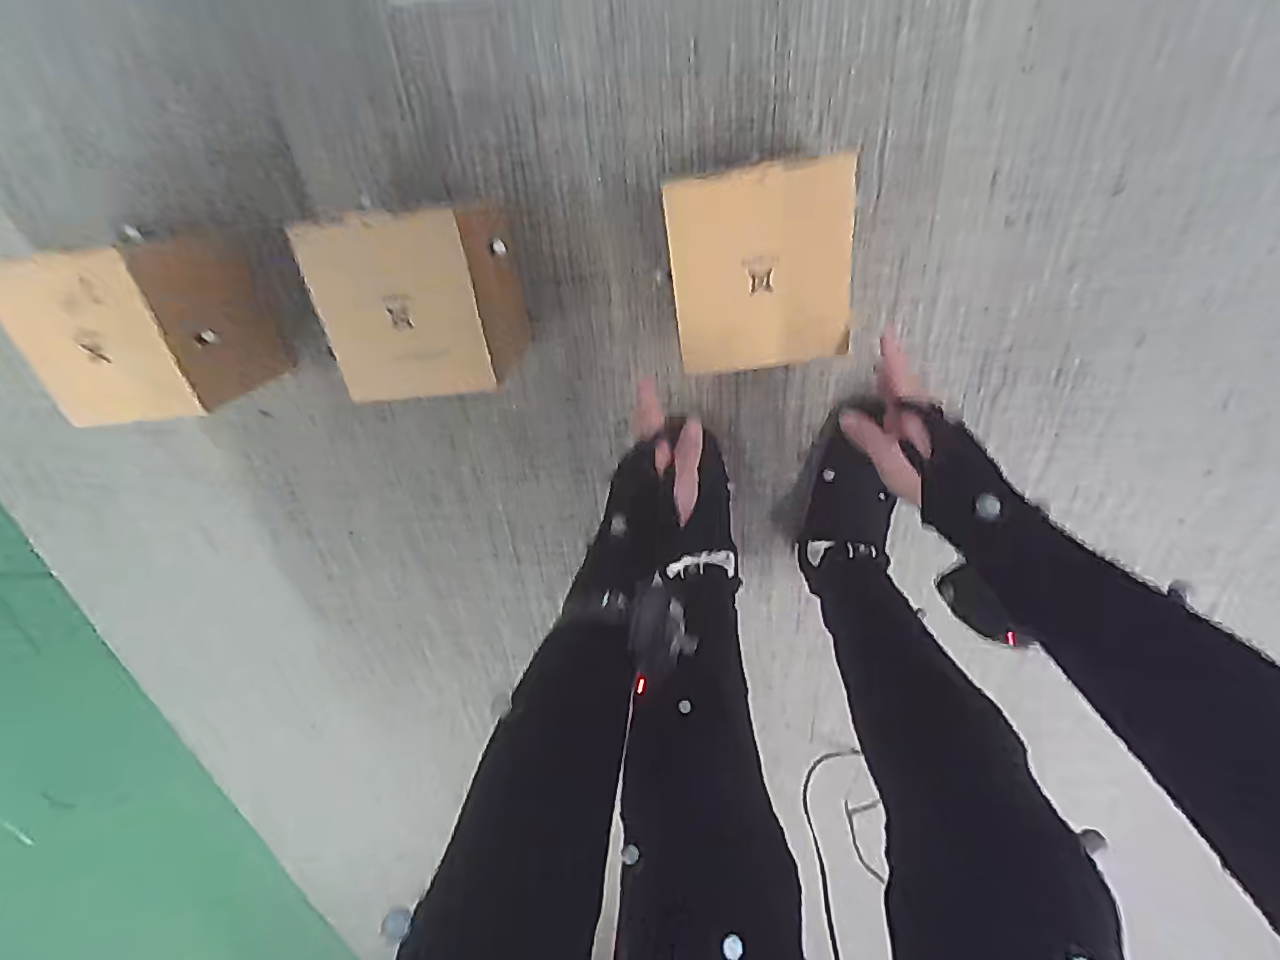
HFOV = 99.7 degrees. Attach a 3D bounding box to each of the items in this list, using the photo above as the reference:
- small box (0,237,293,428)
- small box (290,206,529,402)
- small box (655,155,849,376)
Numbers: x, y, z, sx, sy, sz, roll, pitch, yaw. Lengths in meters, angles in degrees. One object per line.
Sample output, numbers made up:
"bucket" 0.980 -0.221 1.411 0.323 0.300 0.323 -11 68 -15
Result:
"small box" -0.560 -0.179 0.640 0.168 0.176 0.179 -4 119 6
"small box" -0.235 -0.203 0.607 0.168 0.176 0.179 -4 119 6
"small box" 0.112 -0.227 0.569 0.168 0.176 0.179 -7 118 7
